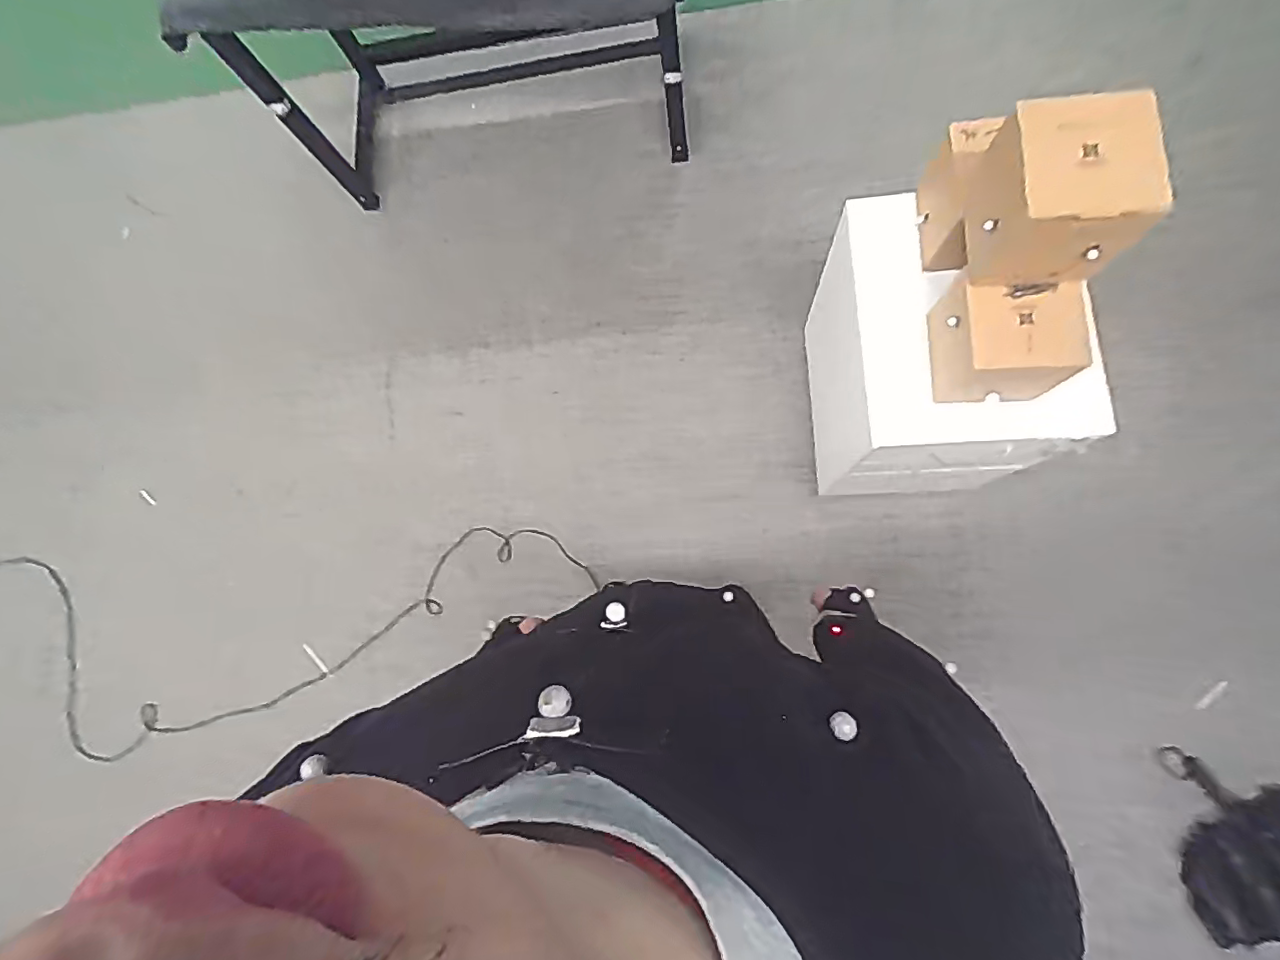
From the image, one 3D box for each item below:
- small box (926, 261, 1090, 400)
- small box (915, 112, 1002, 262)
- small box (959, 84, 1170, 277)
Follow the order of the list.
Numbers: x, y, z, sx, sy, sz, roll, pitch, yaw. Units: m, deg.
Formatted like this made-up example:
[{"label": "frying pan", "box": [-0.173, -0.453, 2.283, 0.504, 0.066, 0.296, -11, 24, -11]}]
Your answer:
[{"label": "small box", "box": [0.591, -0.242, 0.894, 0.168, 0.176, 0.179, 0, 80, 9]}, {"label": "small box", "box": [0.597, -0.498, 0.940, 0.168, 0.176, 0.179, -2, 82, 8]}, {"label": "small box", "box": [0.575, -0.402, 0.759, 0.168, 0.176, 0.179, 0, 79, 7]}]
